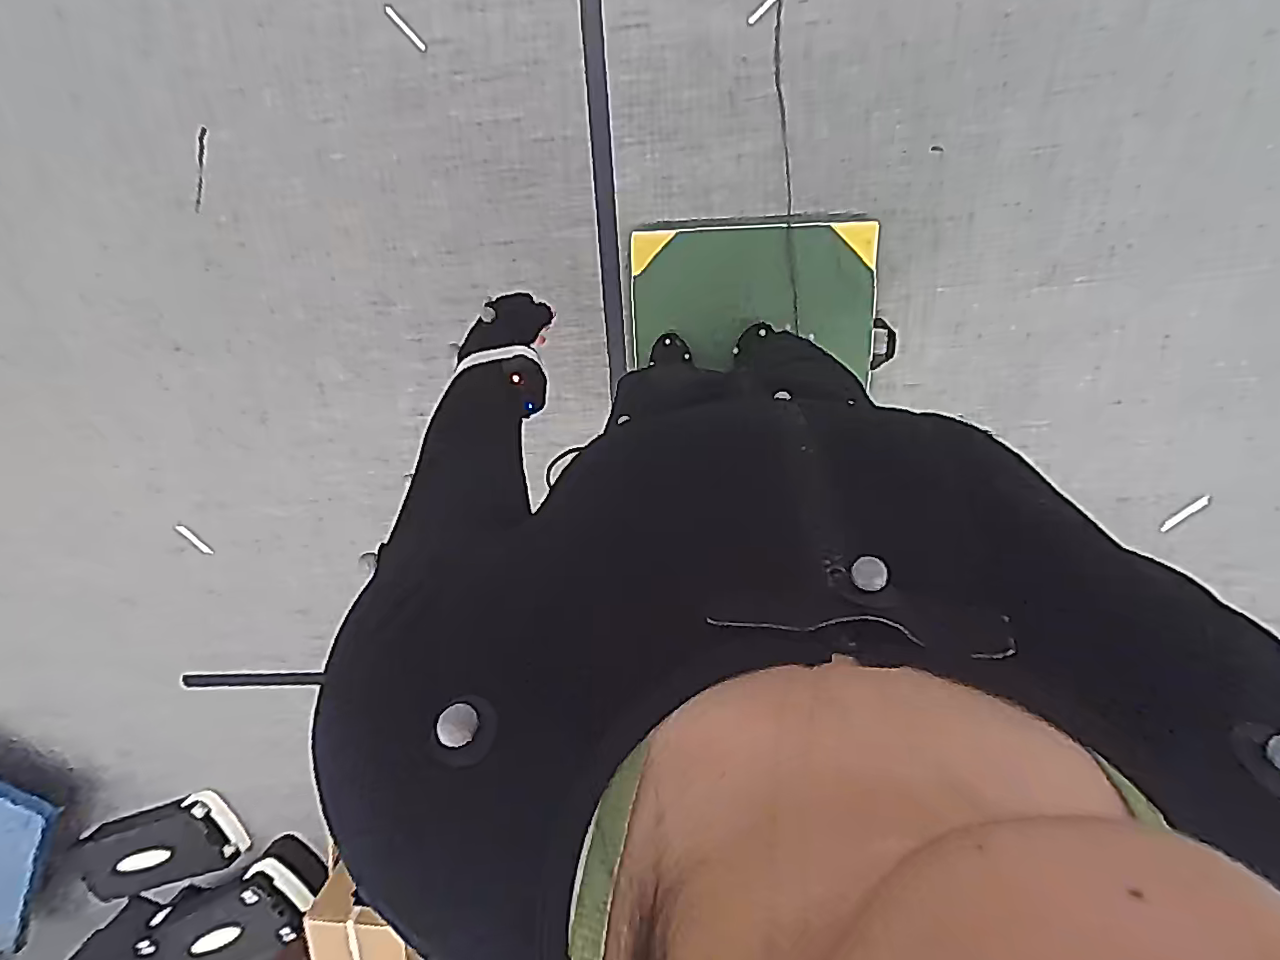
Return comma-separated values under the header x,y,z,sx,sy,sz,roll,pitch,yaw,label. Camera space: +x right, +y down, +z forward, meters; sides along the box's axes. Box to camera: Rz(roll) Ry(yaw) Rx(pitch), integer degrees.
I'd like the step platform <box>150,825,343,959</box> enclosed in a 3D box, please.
x,y,z,sx,sy,sz,roll,pitch,yaw,label
-1.496,1.596,2.054,0.684,0.204,0.286,-31,102,12,step platform
